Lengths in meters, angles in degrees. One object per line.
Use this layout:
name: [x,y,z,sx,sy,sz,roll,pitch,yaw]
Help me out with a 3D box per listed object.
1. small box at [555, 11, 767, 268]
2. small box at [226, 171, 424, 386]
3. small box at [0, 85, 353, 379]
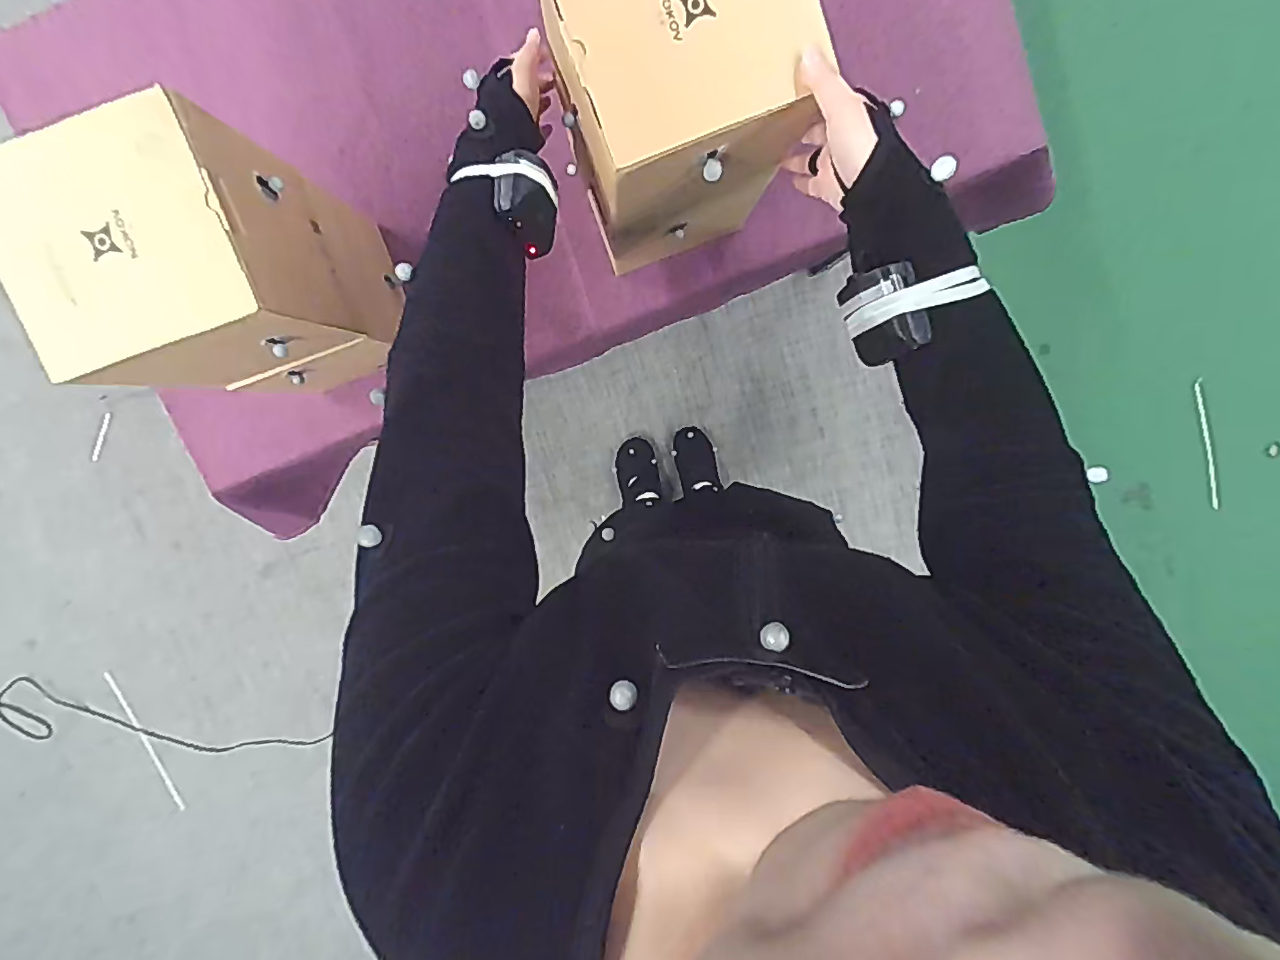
small box: [0.023,-0.363,0.616,0.179,0.176,0.168,-20,99,3]
small box: [-0.389,-0.219,0.639,0.168,0.176,0.179,-19,98,4]
small box: [-0.388,-0.193,0.477,0.179,0.176,0.168,-17,98,3]
